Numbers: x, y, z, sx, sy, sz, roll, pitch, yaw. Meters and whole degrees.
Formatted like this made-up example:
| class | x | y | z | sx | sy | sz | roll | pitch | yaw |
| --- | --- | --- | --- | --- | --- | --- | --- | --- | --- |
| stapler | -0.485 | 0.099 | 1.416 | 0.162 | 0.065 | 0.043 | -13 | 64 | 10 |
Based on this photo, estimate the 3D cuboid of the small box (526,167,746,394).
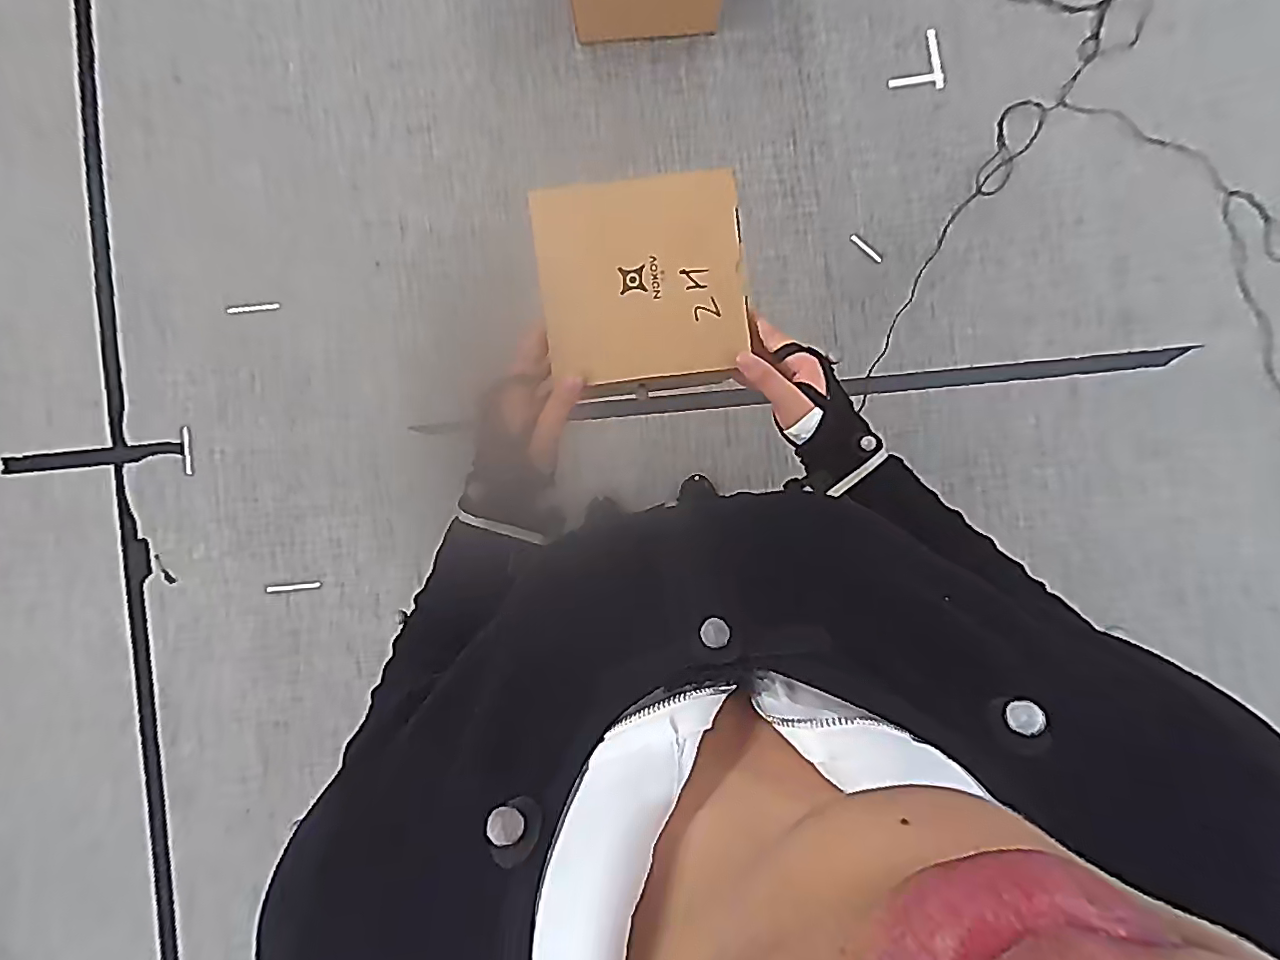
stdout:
| class | x | y | z | sx | sy | sz | roll | pitch | yaw |
| --- | --- | --- | --- | --- | --- | --- | --- | --- | --- |
| small box | -0.003 | -0.181 | 0.540 | 0.179 | 0.176 | 0.168 | -7 | 96 | -1 |
